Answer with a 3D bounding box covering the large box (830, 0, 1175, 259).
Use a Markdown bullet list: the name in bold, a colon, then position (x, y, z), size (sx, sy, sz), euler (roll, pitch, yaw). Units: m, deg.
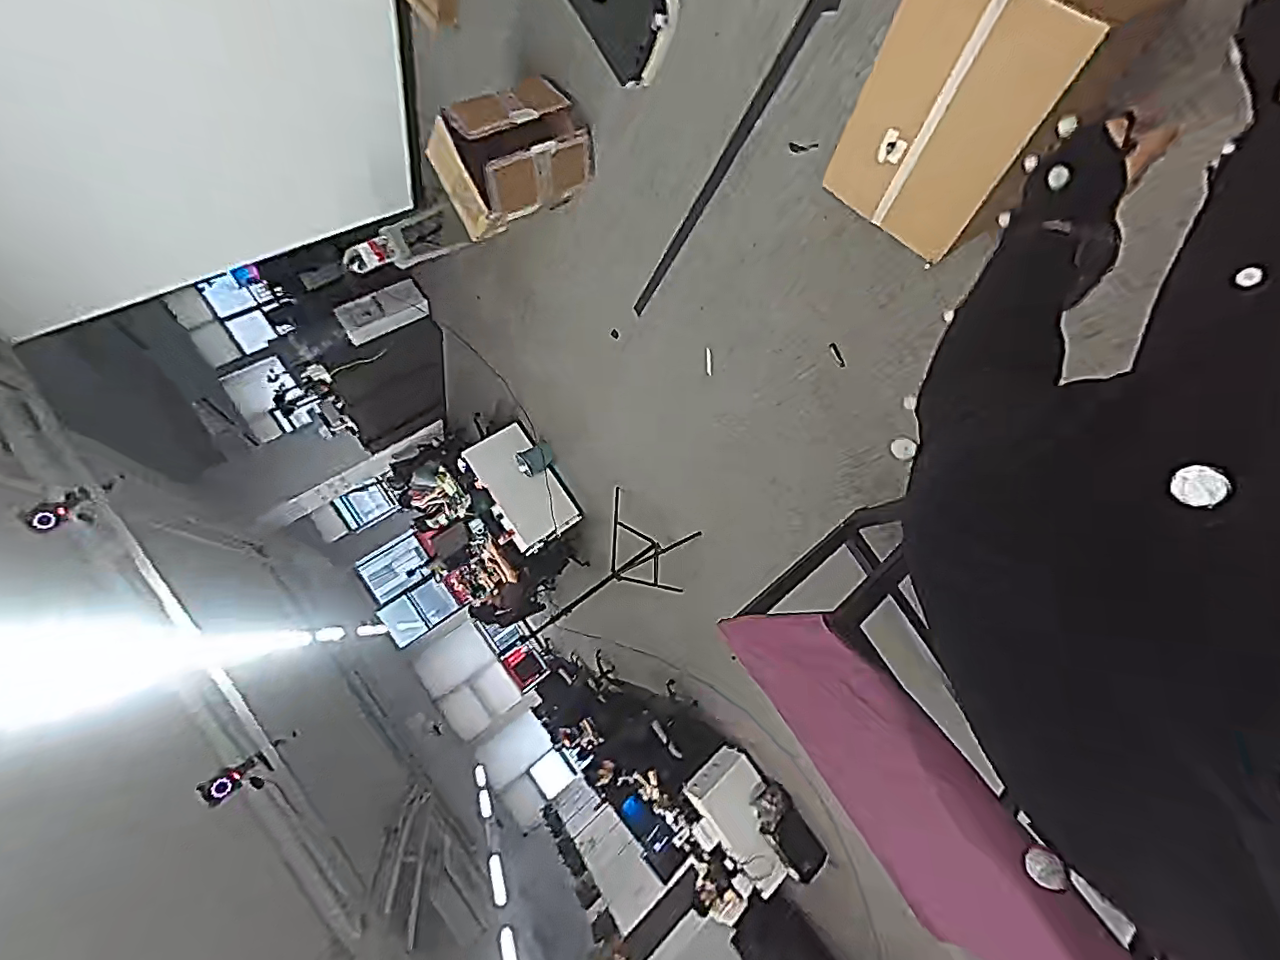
- **large box**: position (0.636, -0.716, 1.000), size (0.320, 0.320, 0.408), euler (49, 157, 18)
